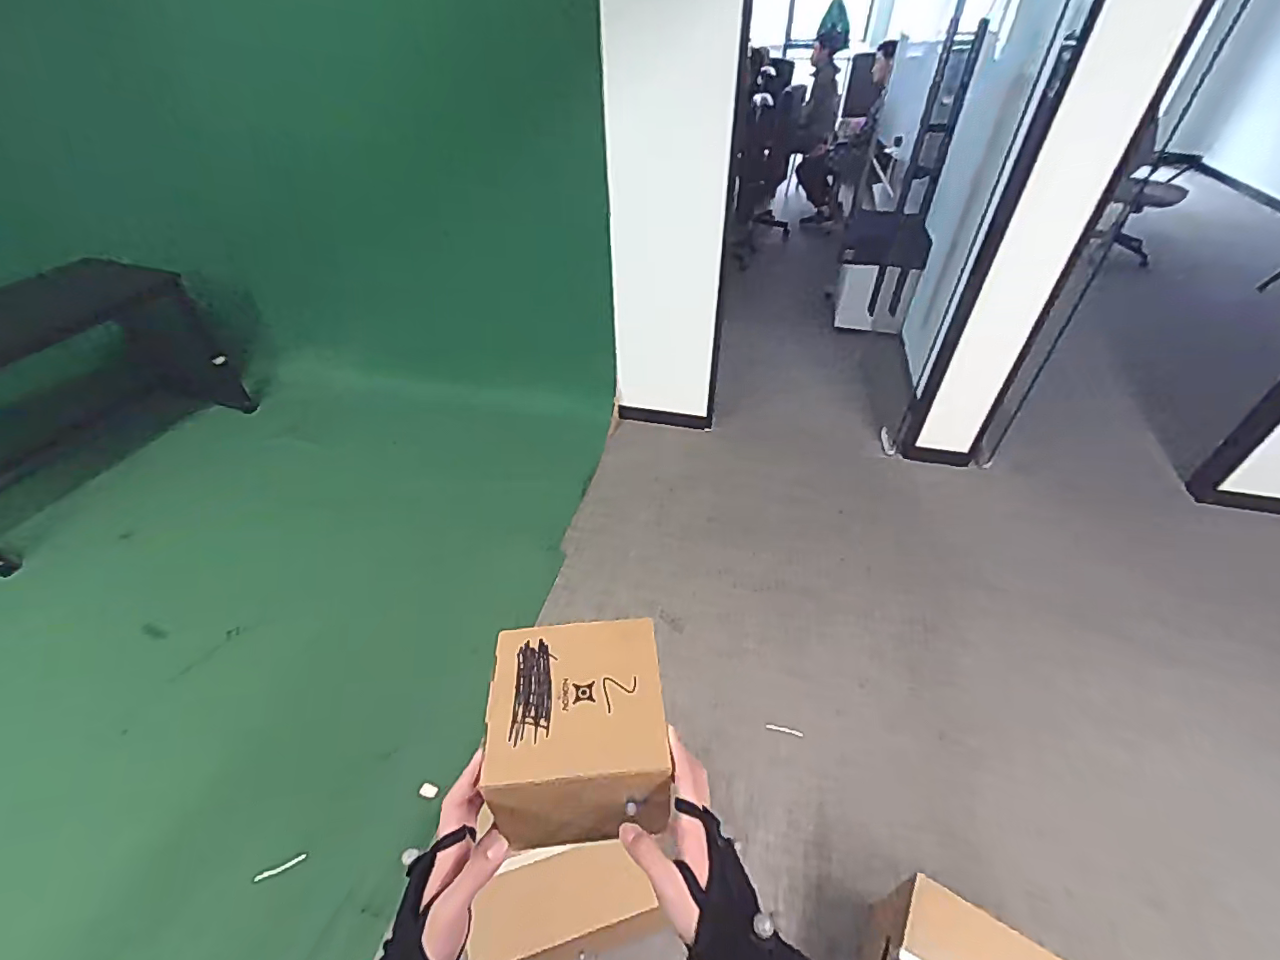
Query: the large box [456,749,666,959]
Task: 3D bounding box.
[{"bbox_3d":[-0.179,0.898,1.259,0.408,0.320,0.320,-13,44,-12],"label":"large box"}]
